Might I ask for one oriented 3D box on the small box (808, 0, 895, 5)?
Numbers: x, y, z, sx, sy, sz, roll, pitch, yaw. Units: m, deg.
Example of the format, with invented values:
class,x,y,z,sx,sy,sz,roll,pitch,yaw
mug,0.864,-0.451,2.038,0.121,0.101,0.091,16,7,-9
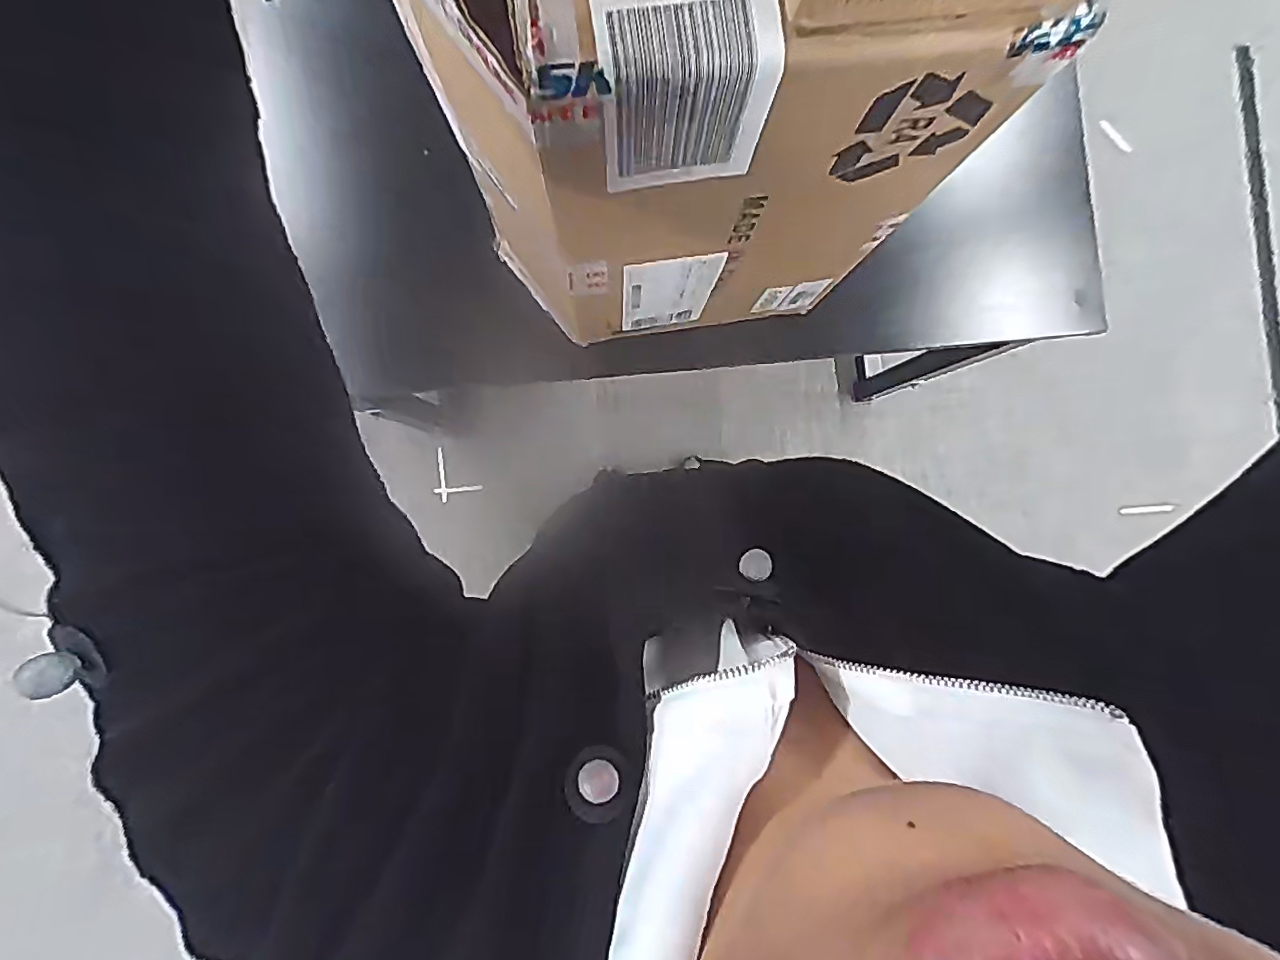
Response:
class,x,y,z,sx,sy,sz,roll,pitch,yaw
small box,0.159,-0.345,0.220,0.179,0.176,0.168,-9,92,-3
